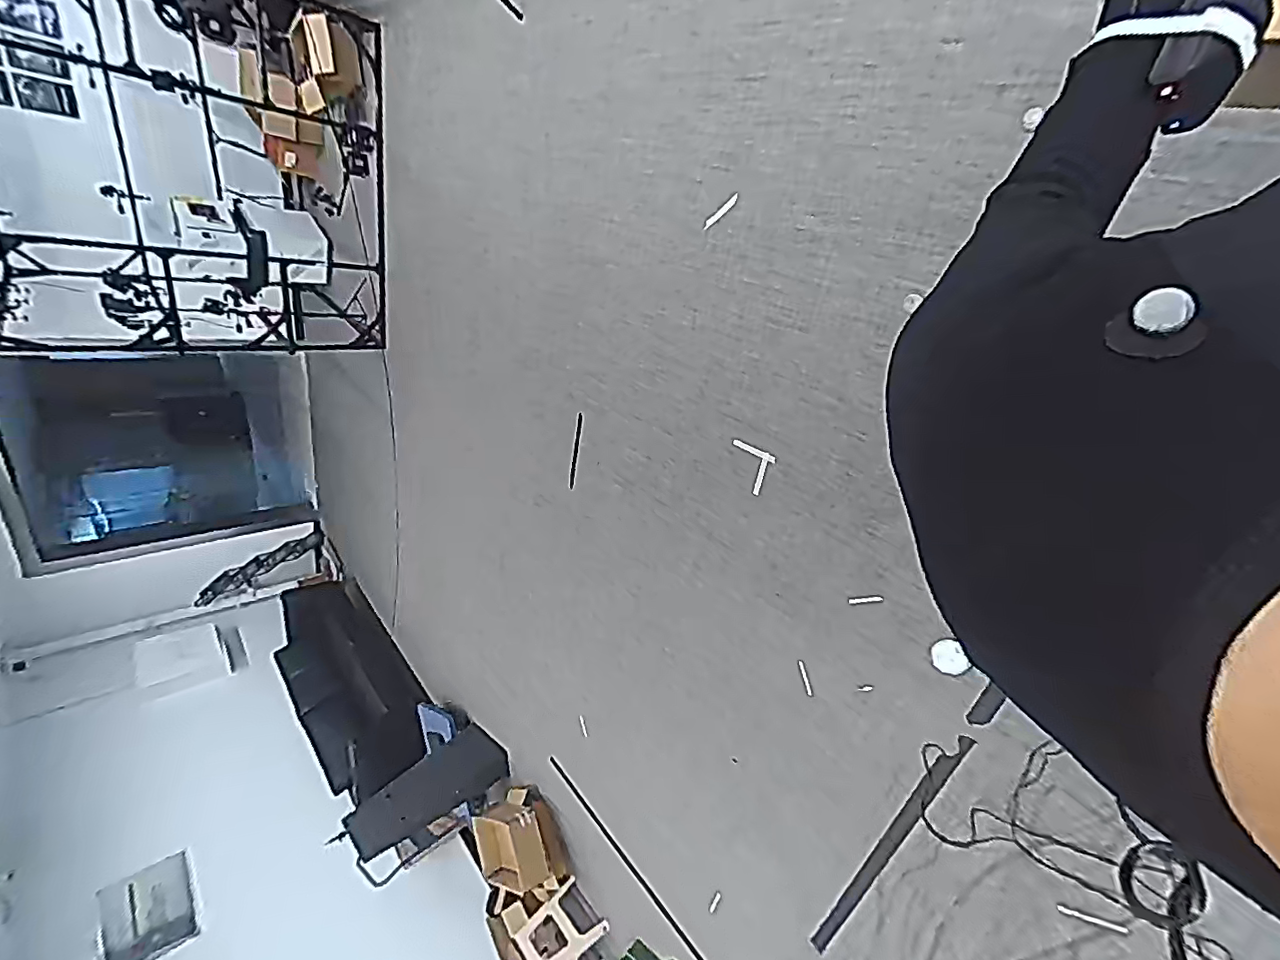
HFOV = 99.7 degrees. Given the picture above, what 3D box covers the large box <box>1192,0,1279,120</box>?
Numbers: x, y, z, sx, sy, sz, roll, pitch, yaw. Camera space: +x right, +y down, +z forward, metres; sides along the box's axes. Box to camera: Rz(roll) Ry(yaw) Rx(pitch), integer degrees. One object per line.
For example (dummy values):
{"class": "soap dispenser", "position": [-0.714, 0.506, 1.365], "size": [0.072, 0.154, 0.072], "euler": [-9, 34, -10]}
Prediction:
{"class": "large box", "position": [0.658, -0.405, 0.307], "size": [0.408, 0.320, 0.320], "euler": [29, 128, 33]}
